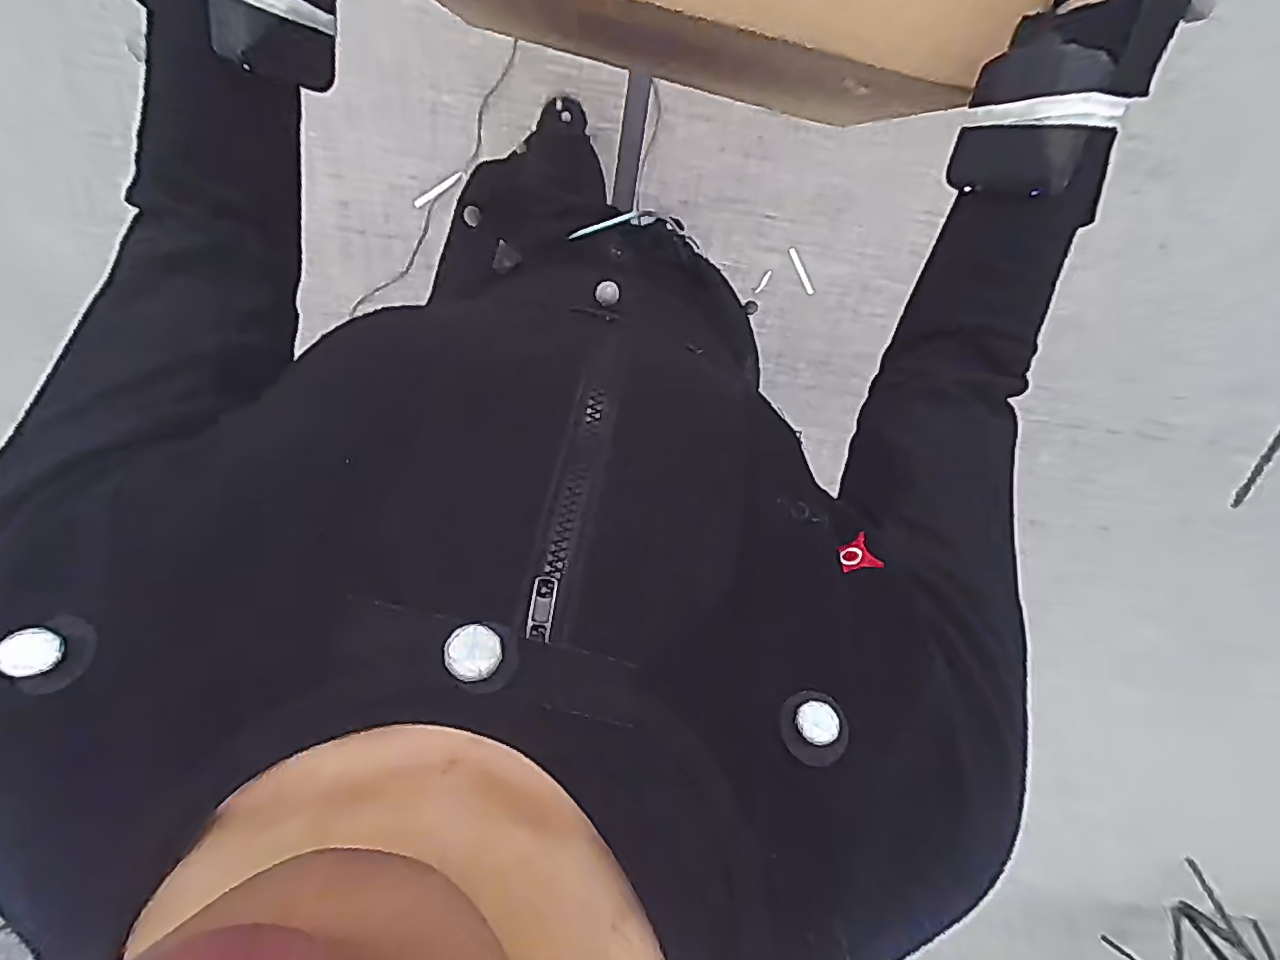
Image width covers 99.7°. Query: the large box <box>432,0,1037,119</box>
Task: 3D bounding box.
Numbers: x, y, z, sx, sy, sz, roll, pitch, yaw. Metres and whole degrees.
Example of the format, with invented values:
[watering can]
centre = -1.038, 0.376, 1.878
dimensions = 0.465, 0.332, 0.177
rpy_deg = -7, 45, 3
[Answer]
[large box]
centre = 0.049, -0.469, 0.357
dimensions = 0.408, 0.320, 0.320
rpy_deg = 10, 122, -6
